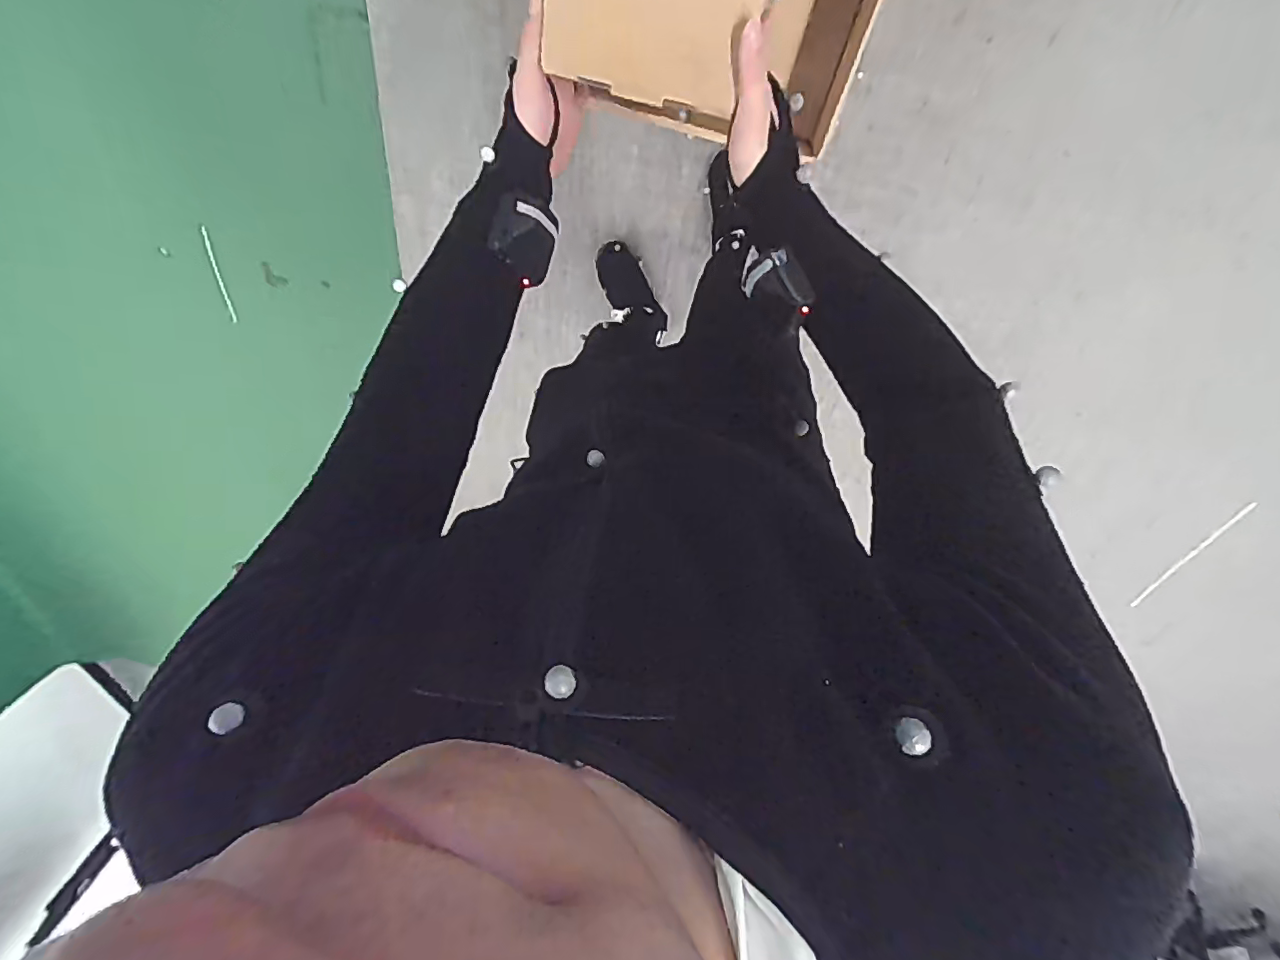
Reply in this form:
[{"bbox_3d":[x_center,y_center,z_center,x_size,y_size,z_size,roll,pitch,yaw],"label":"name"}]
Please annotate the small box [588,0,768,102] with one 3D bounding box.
[{"bbox_3d":[0.056,-0.537,0.578,0.168,0.176,0.179,17,132,1],"label":"small box"}]
